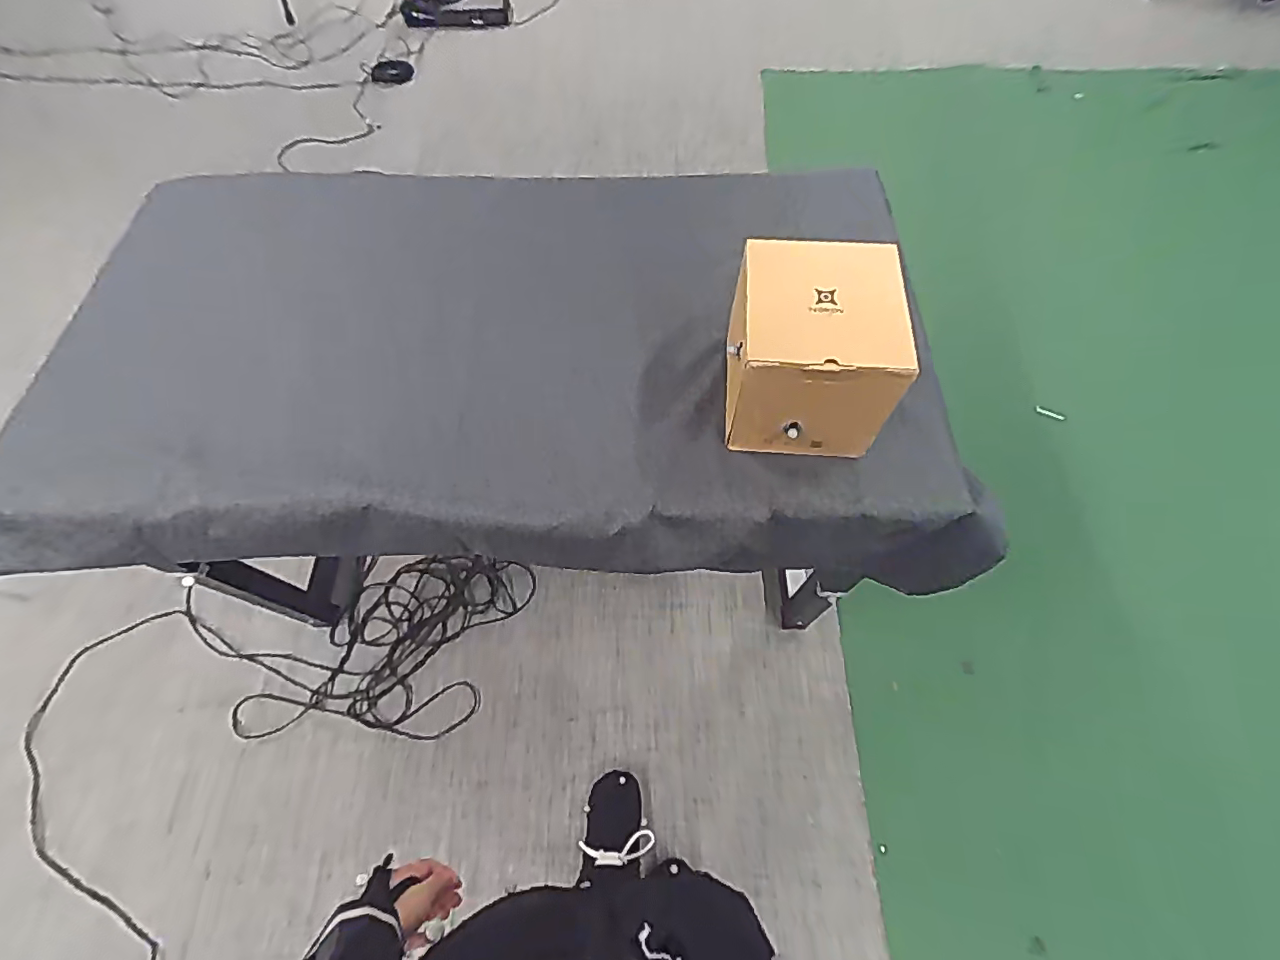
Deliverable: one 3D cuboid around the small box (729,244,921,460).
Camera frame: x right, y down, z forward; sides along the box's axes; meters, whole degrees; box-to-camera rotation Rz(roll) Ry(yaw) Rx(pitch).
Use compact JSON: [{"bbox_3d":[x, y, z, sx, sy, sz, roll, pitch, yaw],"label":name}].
[{"bbox_3d":[0.196,-0.144,0.629,0.168,0.176,0.179,3,63,3],"label":"small box"}]
